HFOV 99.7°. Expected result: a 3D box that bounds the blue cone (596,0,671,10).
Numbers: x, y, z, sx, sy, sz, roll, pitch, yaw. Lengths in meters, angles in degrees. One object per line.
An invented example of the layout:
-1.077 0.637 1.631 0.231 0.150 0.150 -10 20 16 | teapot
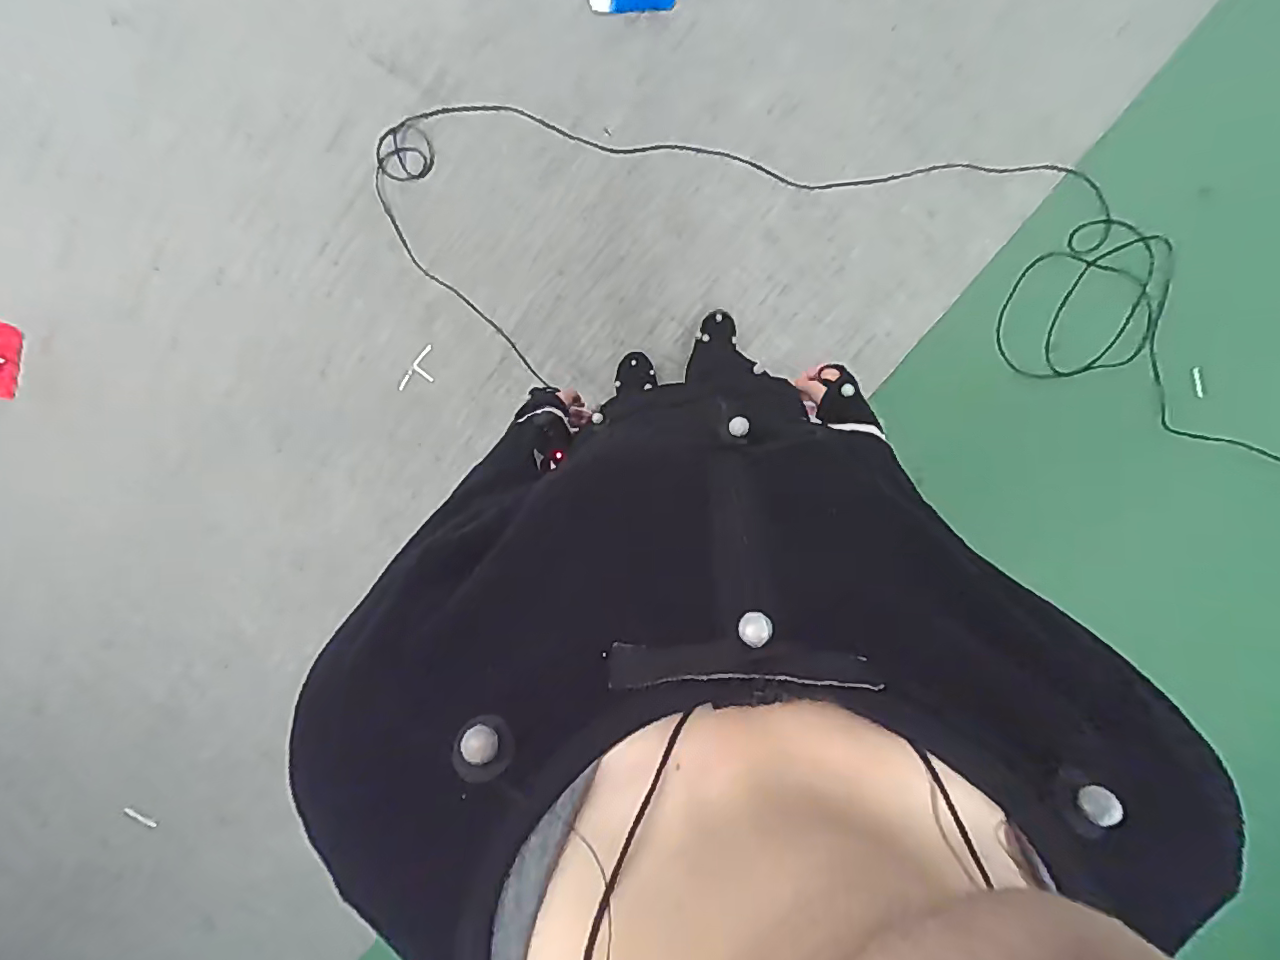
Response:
-0.022 -1.126 1.043 0.192 0.380 0.193 -5 102 1 | blue cone
